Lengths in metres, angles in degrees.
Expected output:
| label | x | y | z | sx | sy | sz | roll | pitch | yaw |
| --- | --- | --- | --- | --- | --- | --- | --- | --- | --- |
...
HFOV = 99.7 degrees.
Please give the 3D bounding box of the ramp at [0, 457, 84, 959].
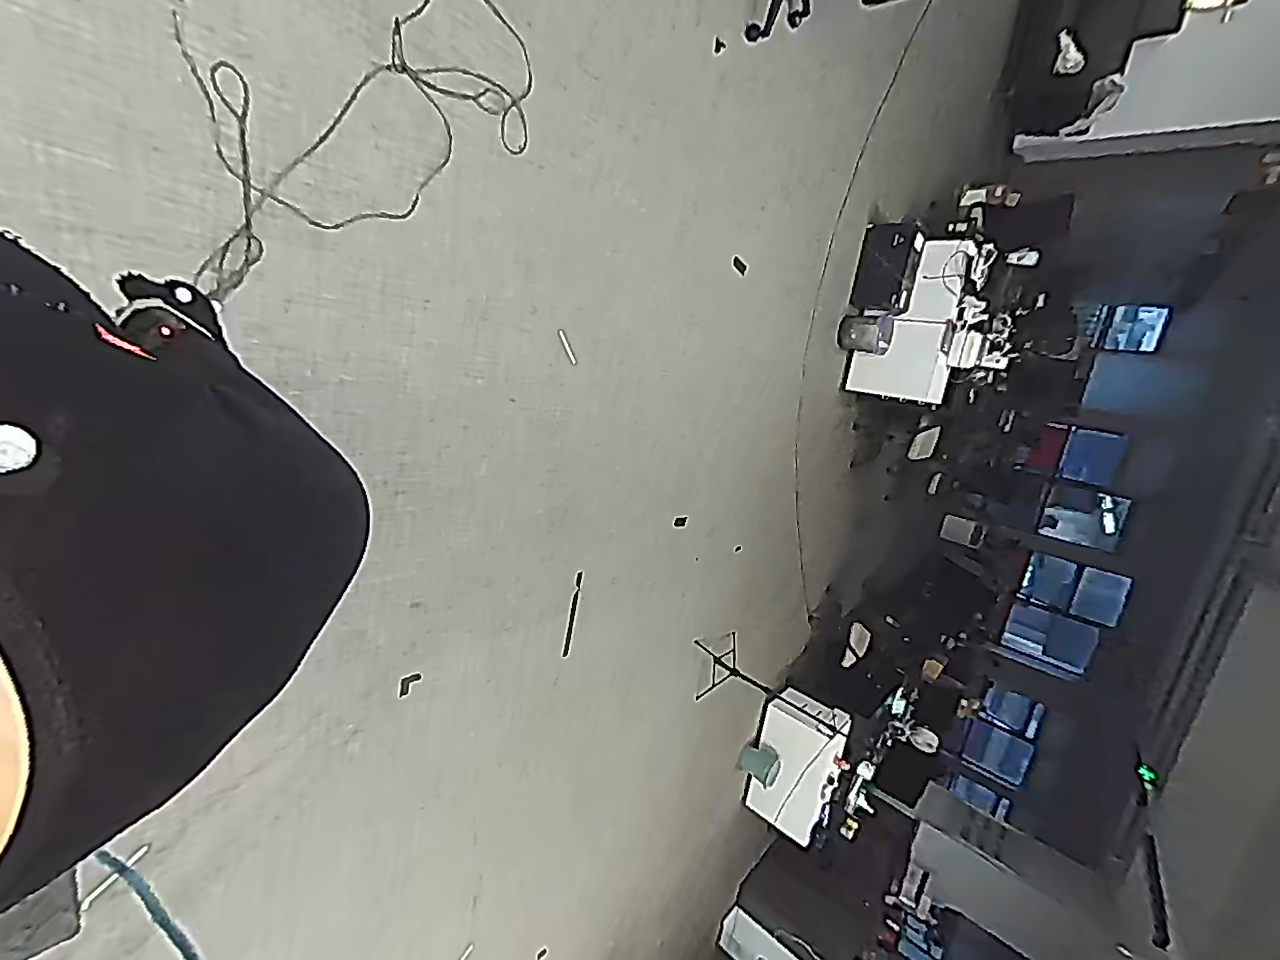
| label | x | y | z | sx | sy | sz | roll | pitch | yaw |
| --- | --- | --- | --- | --- | --- | --- | --- | --- | --- |
| ramp | -1.314 | 0.466 | 0.897 | 0.509 | 0.206 | 0.991 | -7 | 110 | -48 |
